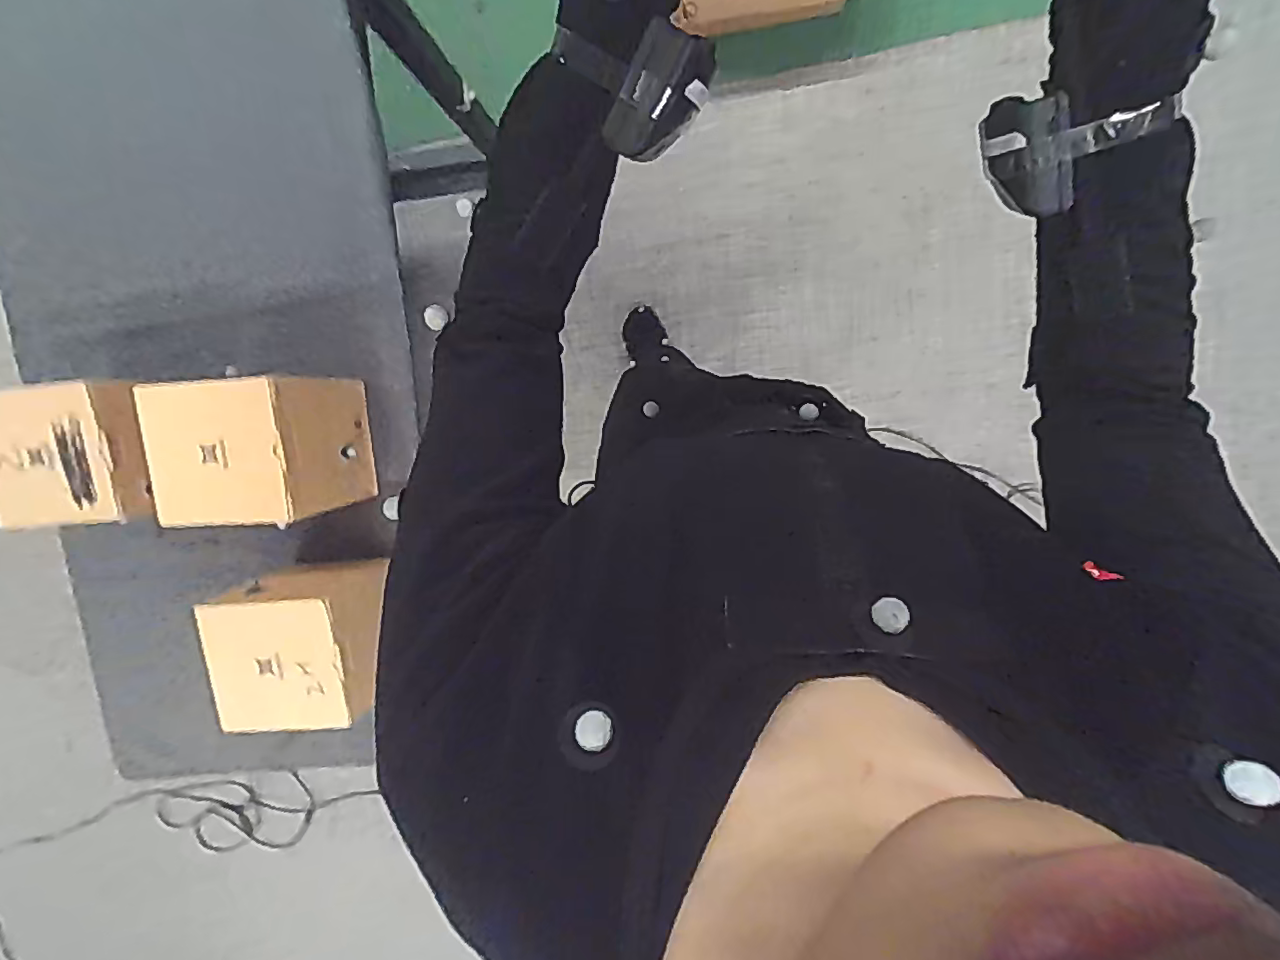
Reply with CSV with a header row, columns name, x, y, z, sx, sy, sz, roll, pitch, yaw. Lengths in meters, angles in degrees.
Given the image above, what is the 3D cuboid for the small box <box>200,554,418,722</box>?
name,x,y,z,sx,sy,sz,roll,pitch,yaw
small box,-0.433,0.204,0.733,0.179,0.176,0.168,-5,99,6
